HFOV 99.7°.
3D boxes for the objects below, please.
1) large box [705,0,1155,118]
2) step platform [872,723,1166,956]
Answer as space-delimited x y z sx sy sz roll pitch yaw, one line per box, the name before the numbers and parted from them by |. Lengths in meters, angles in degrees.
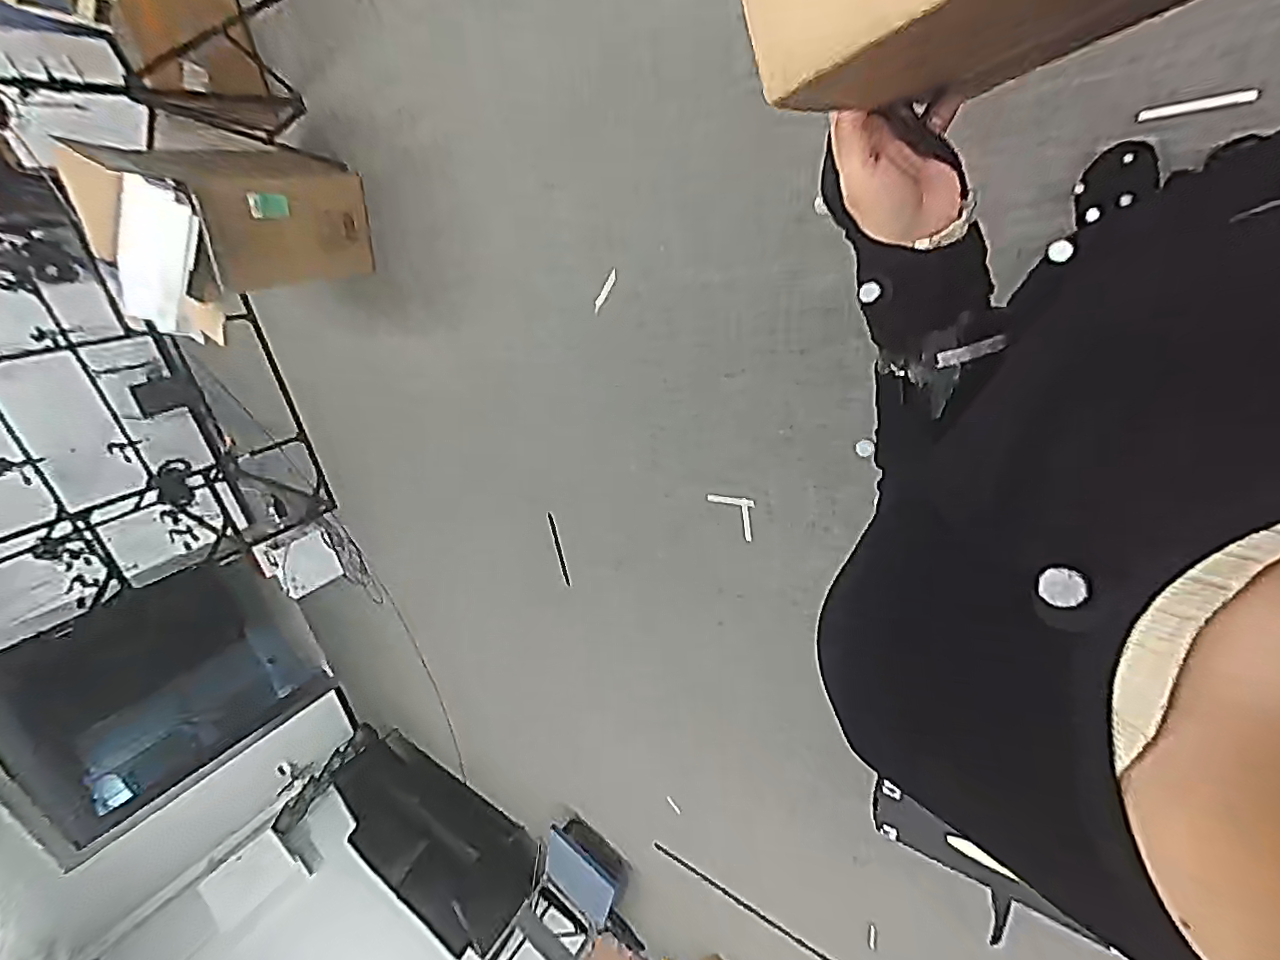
large box | 0.220 -0.364 0.139 0.408 0.320 0.320 -2 117 47
step platform | 1.048 1.015 1.573 0.684 0.204 0.286 17 125 35
